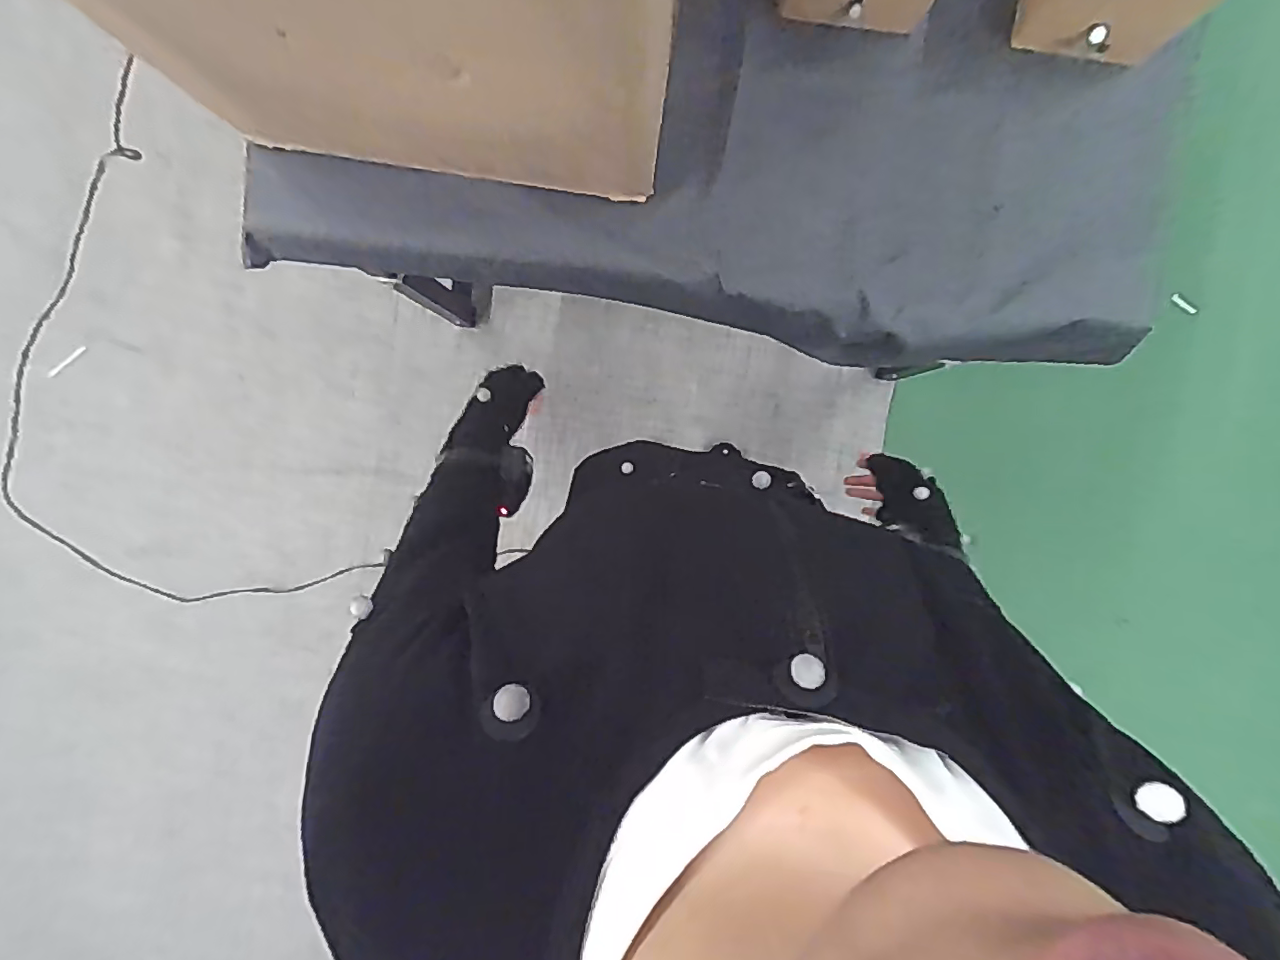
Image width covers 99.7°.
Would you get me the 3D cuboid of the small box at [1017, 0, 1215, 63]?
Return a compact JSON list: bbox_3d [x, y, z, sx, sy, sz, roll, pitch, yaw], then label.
[{"bbox_3d":[0.565,-0.623,0.602,0.168,0.176,0.179,10,95,1],"label":"small box"}]
